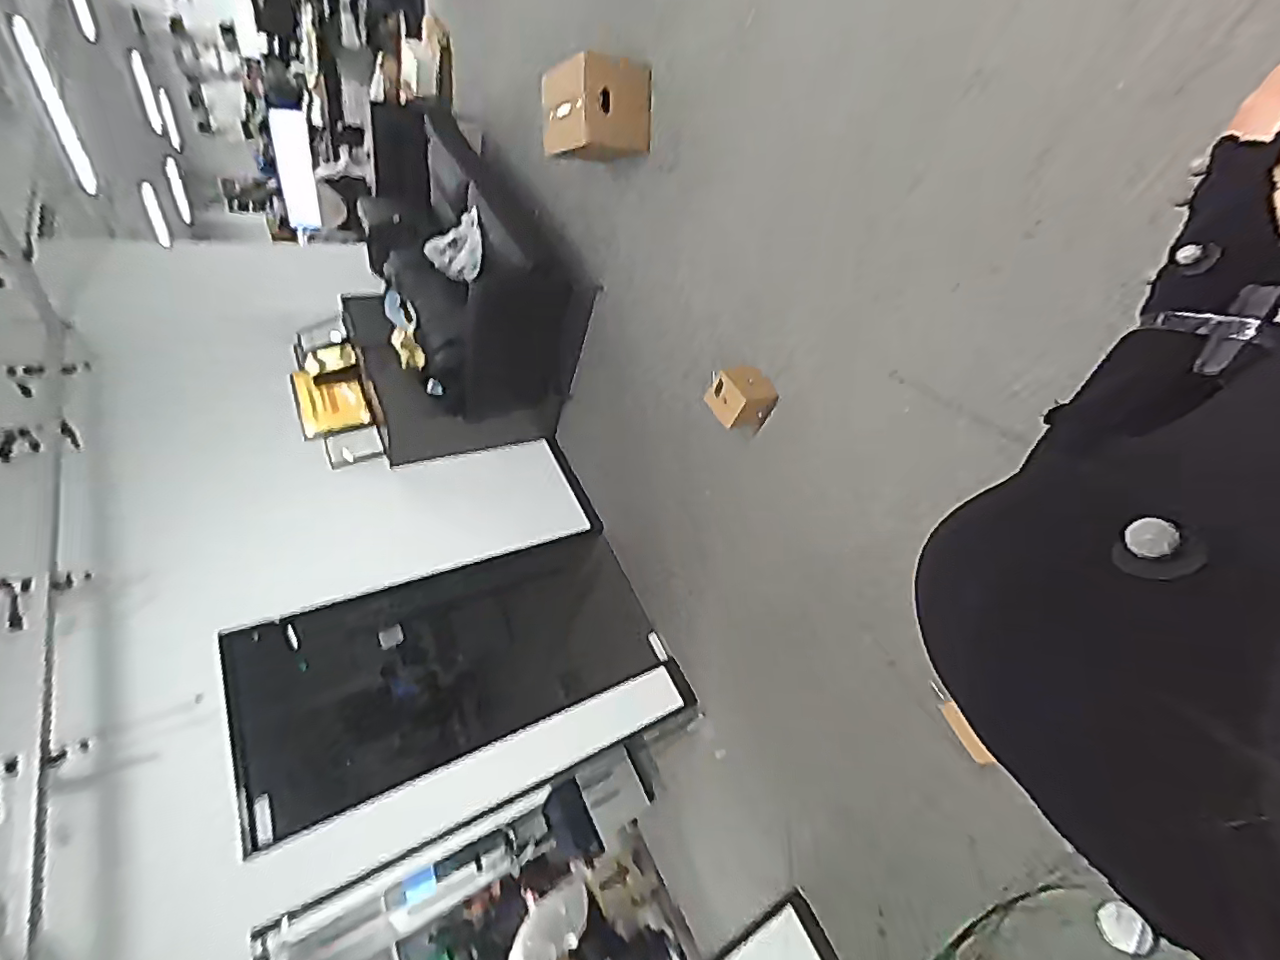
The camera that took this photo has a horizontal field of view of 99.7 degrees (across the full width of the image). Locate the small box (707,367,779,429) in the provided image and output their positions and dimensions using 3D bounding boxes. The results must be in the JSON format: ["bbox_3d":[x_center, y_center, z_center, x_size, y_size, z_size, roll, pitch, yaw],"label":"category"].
[{"bbox_3d":[0.394,-0.320,2.073,0.179,0.176,0.168,59,145,26],"label":"small box"}]

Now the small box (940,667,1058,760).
[{"bbox_3d":[0.982,0.637,1.479,0.168,0.176,0.179,62,146,22],"label":"small box"}]
